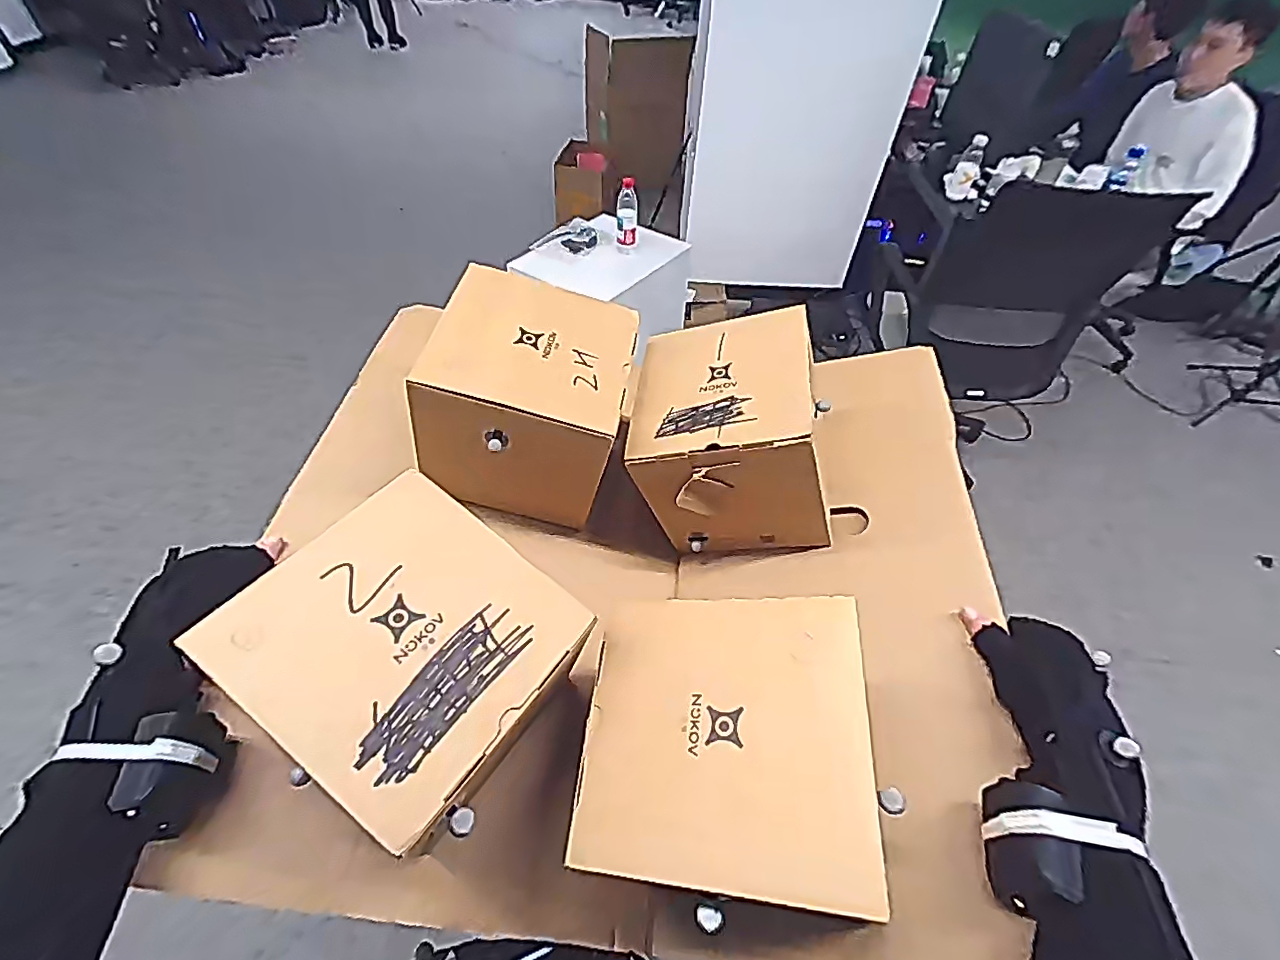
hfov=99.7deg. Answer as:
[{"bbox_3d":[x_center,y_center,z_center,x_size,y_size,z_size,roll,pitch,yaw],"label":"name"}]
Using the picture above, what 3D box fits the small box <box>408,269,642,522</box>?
[{"bbox_3d":[-0.112,-0.076,0.554,0.179,0.176,0.168,16,55,-7],"label":"small box"}]
